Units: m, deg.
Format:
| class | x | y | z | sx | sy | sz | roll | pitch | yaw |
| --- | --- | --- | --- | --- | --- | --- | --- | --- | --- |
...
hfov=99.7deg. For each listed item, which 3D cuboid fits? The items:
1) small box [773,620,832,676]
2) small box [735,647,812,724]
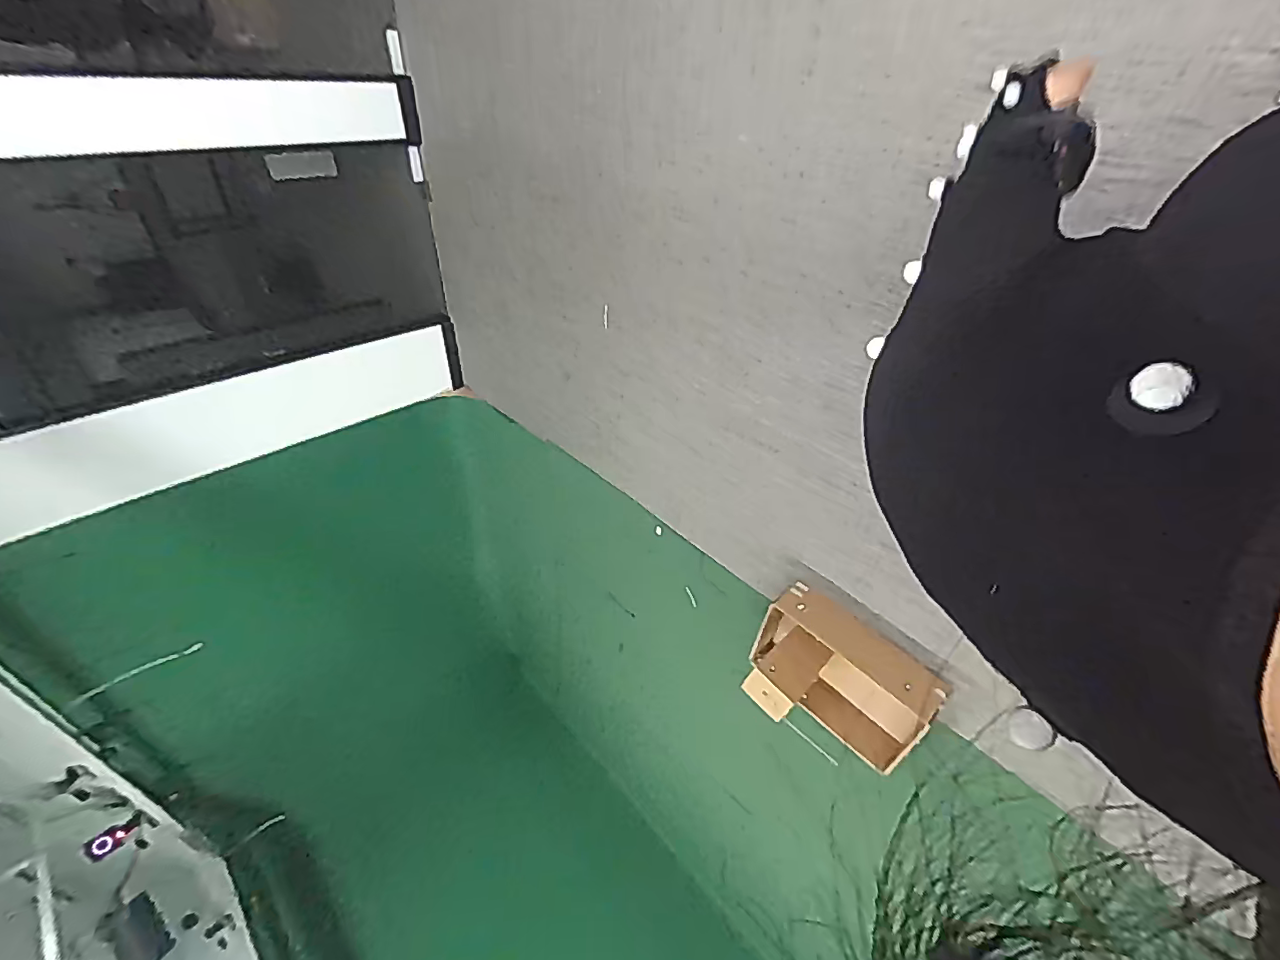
| class | x | y | z | sx | sy | sz | roll | pitch | yaw |
| --- | --- | --- | --- | --- | --- | --- | --- | --- | --- |
| small box | 0.597 | 0.672 | 2.056 | 0.168 | 0.176 | 0.179 | 40 | 137 | 25 |
| small box | 0.483 | 0.733 | 1.955 | 0.179 | 0.176 | 0.168 | 41 | 139 | 24 |
